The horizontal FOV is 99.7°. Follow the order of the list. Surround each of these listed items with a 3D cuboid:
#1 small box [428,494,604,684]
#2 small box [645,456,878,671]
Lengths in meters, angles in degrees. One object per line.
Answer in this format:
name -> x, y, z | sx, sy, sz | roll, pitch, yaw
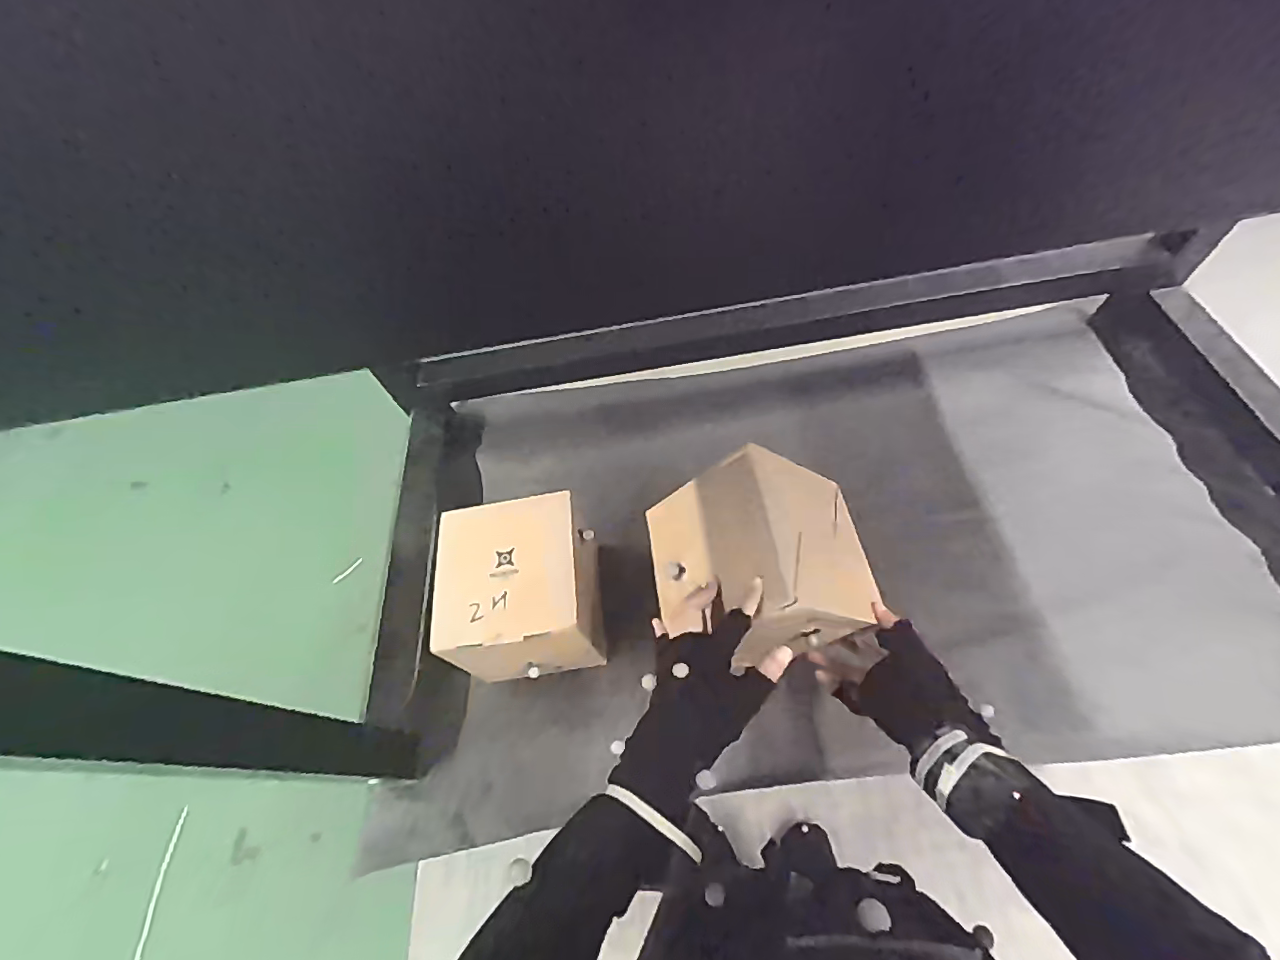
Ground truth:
small box -> -0.144, 0.143, 0.687 | 0.168, 0.176, 0.179 | -10, 57, 4
small box -> 0.128, 0.093, 0.591 | 0.176, 0.168, 0.179 | -37, 46, 35
